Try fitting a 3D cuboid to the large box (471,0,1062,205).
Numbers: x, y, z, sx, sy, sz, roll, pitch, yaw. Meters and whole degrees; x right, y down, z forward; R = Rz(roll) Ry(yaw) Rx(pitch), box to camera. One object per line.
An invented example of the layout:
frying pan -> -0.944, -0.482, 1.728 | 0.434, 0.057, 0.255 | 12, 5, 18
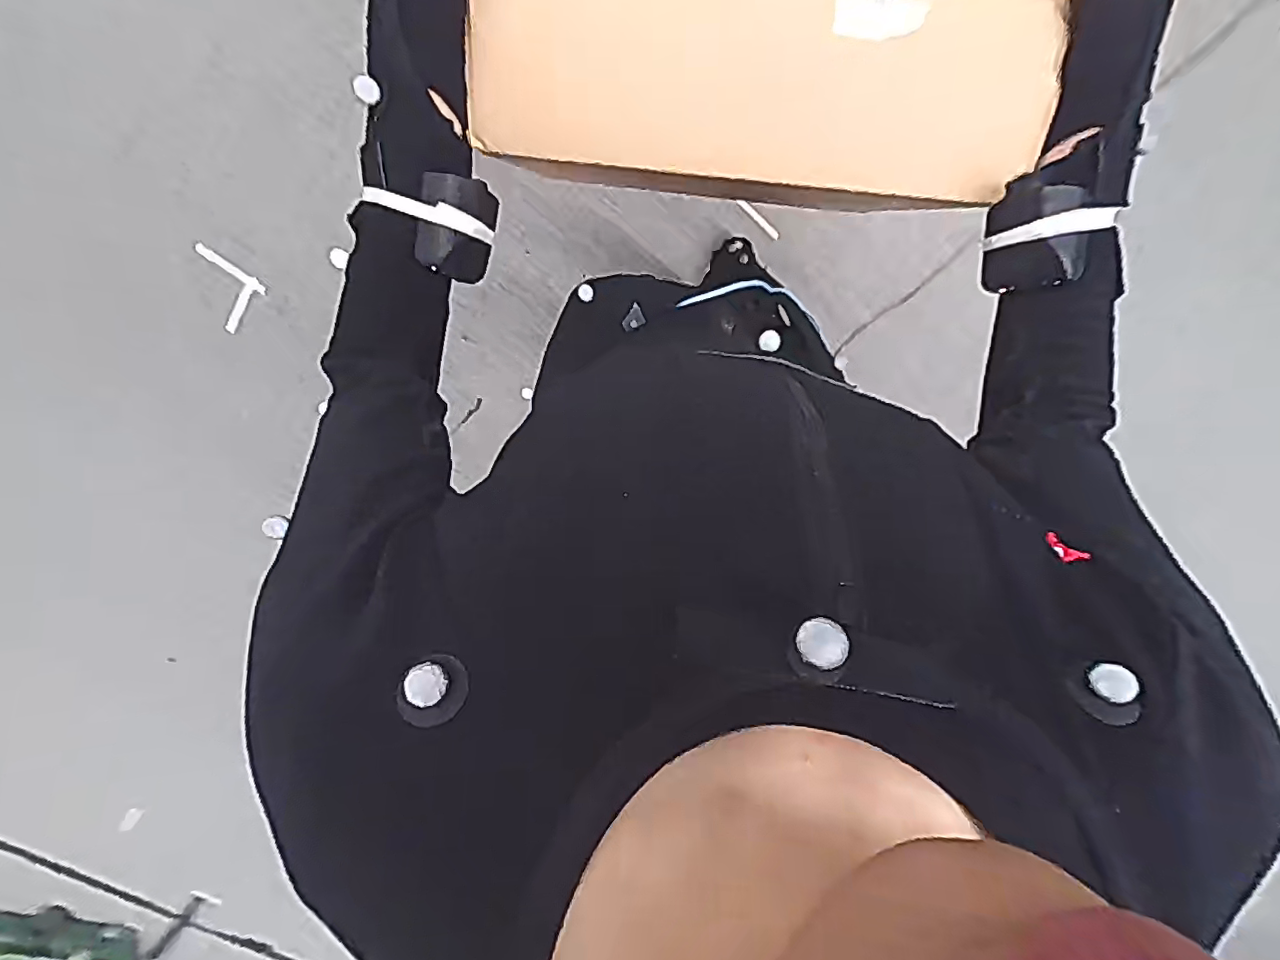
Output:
large box -> 0.086, -0.430, 0.475 | 0.408, 0.320, 0.320 | 4, 117, -2
